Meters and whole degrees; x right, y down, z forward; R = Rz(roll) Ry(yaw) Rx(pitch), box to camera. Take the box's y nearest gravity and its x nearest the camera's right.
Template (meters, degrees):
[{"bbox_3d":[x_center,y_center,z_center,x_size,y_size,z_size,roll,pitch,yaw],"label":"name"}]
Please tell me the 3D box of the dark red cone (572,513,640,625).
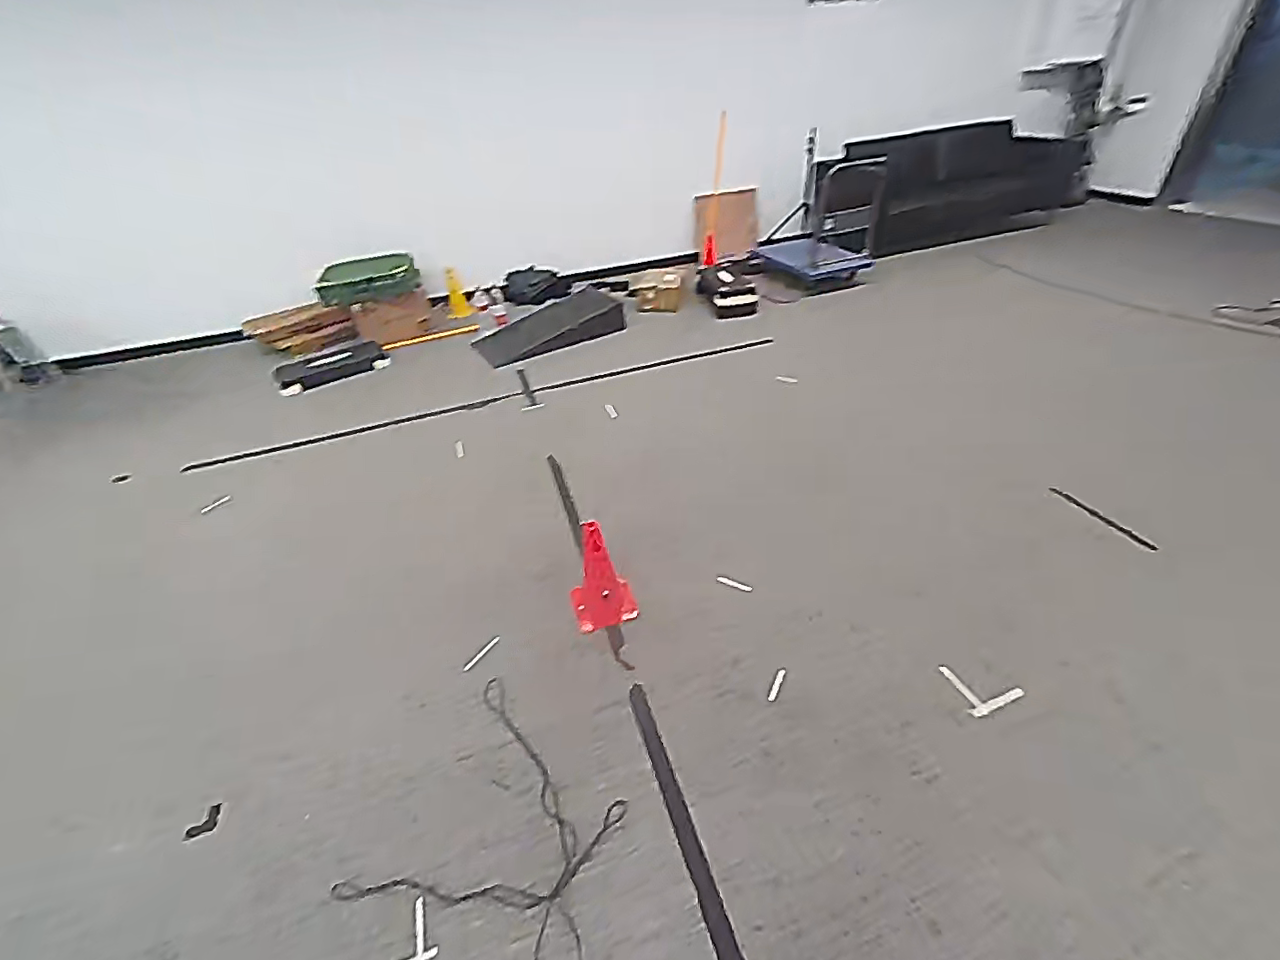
[{"bbox_3d":[-0.130,0.259,1.710,0.201,0.394,0.202,-16,38,-12],"label":"dark red cone"}]
